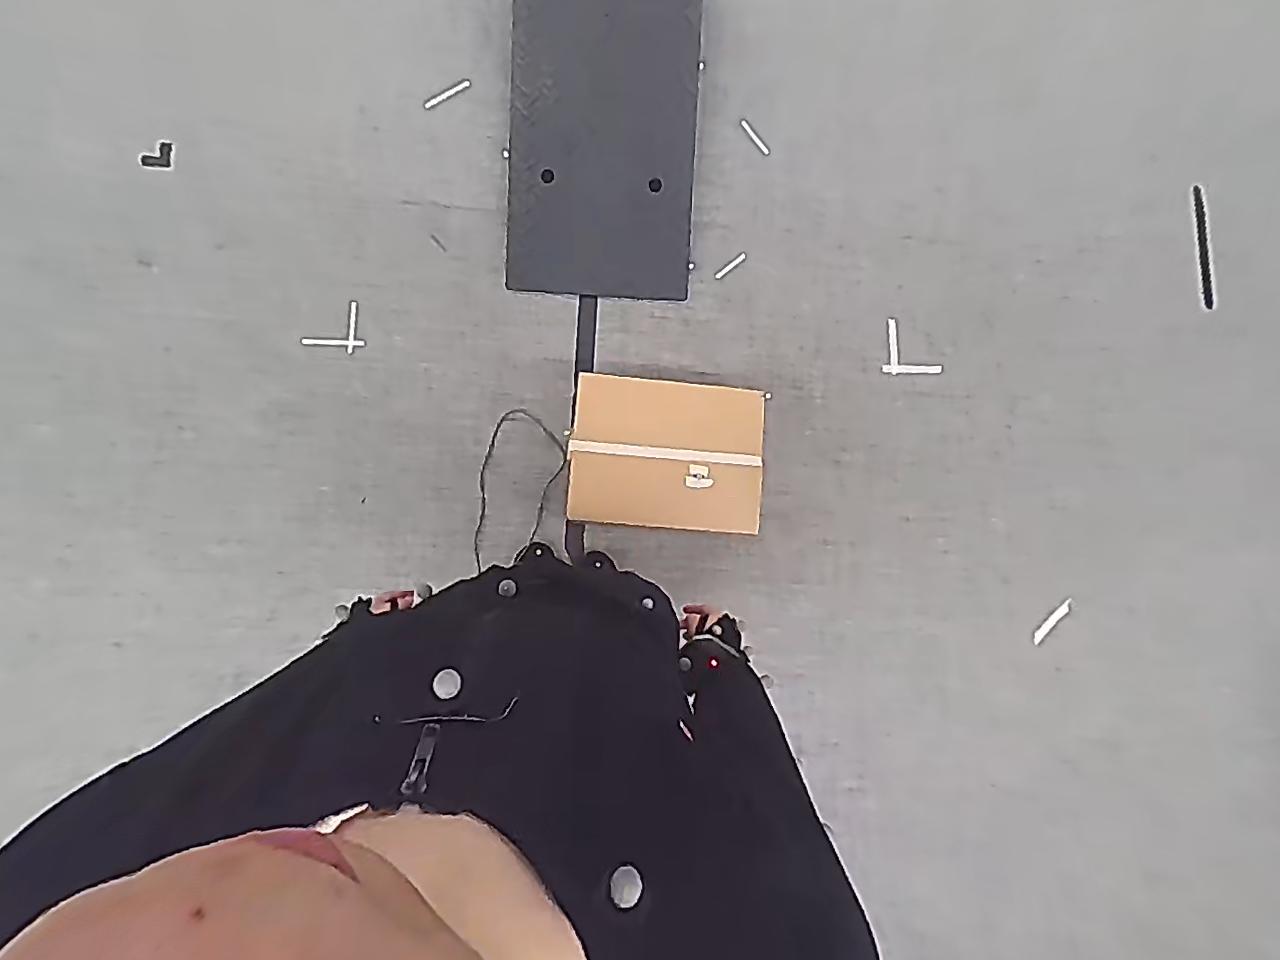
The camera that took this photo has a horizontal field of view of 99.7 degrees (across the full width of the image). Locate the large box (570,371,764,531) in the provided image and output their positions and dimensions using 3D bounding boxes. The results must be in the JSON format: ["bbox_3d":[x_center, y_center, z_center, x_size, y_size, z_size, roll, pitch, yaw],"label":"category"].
[{"bbox_3d":[0.045,-0.048,1.282,0.408,0.320,0.320,5,84,-5],"label":"large box"}]

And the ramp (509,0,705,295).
[{"bbox_3d":[-0.082,-1.011,1.417,0.509,0.206,0.991,1,85,-6],"label":"ramp"}]
